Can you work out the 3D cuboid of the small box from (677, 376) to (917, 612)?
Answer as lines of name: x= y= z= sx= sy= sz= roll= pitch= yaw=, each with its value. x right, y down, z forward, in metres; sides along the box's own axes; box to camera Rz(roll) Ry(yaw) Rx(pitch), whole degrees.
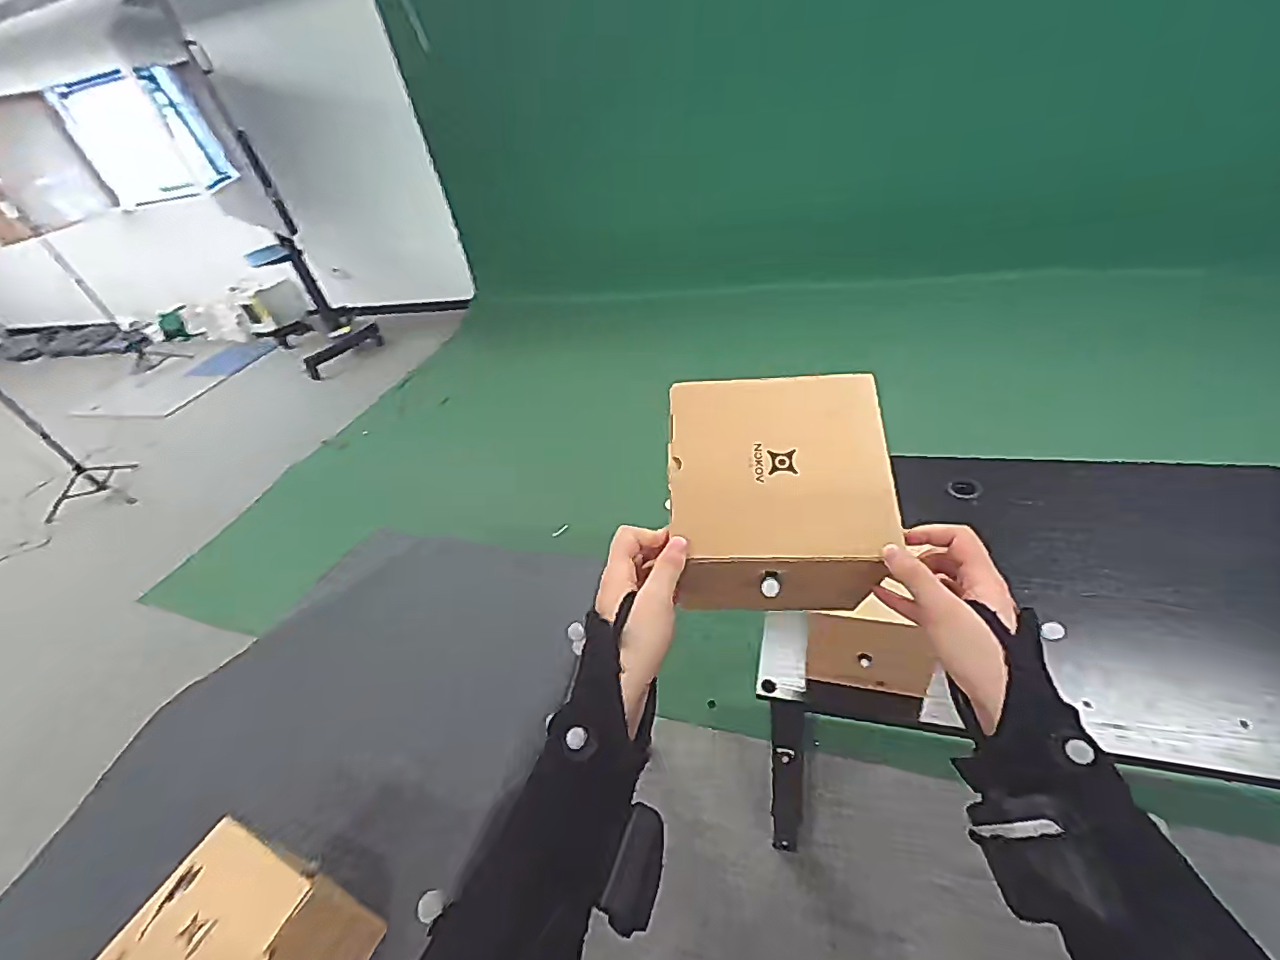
small box: x=0.129 y=0.023 z=0.505 sx=0.179 sy=0.176 sz=0.168 roll=-2 pitch=64 yaw=9

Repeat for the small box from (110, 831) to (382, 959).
small box: x=-0.427 y=0.531 z=0.591 sx=0.179 sy=0.176 sz=0.168 roll=9 pitch=44 yaw=26

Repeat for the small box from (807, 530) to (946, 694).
small box: x=0.337 y=0.188 z=0.797 sx=0.168 sy=0.176 sz=0.179 roll=3 pitch=41 yaw=18
